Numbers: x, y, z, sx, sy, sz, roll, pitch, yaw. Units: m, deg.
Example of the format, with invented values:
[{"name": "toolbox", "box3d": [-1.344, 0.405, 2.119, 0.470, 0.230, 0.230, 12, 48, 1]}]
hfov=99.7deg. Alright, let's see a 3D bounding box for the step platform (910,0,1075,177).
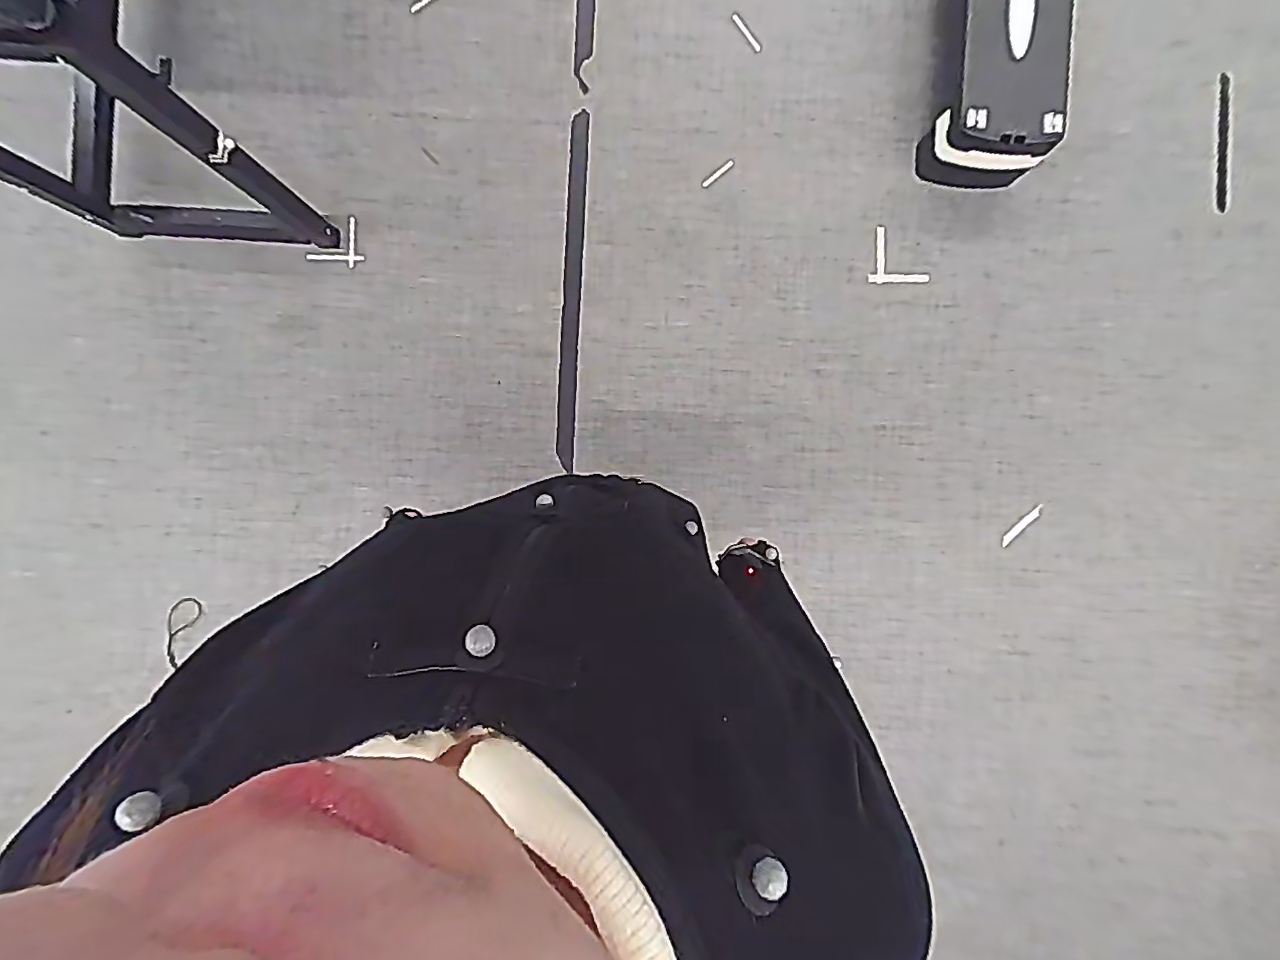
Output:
[{"name": "step platform", "box3d": [0.936, -1.189, 1.414, 0.286, 0.204, 0.684, 8, 90, -2]}]
